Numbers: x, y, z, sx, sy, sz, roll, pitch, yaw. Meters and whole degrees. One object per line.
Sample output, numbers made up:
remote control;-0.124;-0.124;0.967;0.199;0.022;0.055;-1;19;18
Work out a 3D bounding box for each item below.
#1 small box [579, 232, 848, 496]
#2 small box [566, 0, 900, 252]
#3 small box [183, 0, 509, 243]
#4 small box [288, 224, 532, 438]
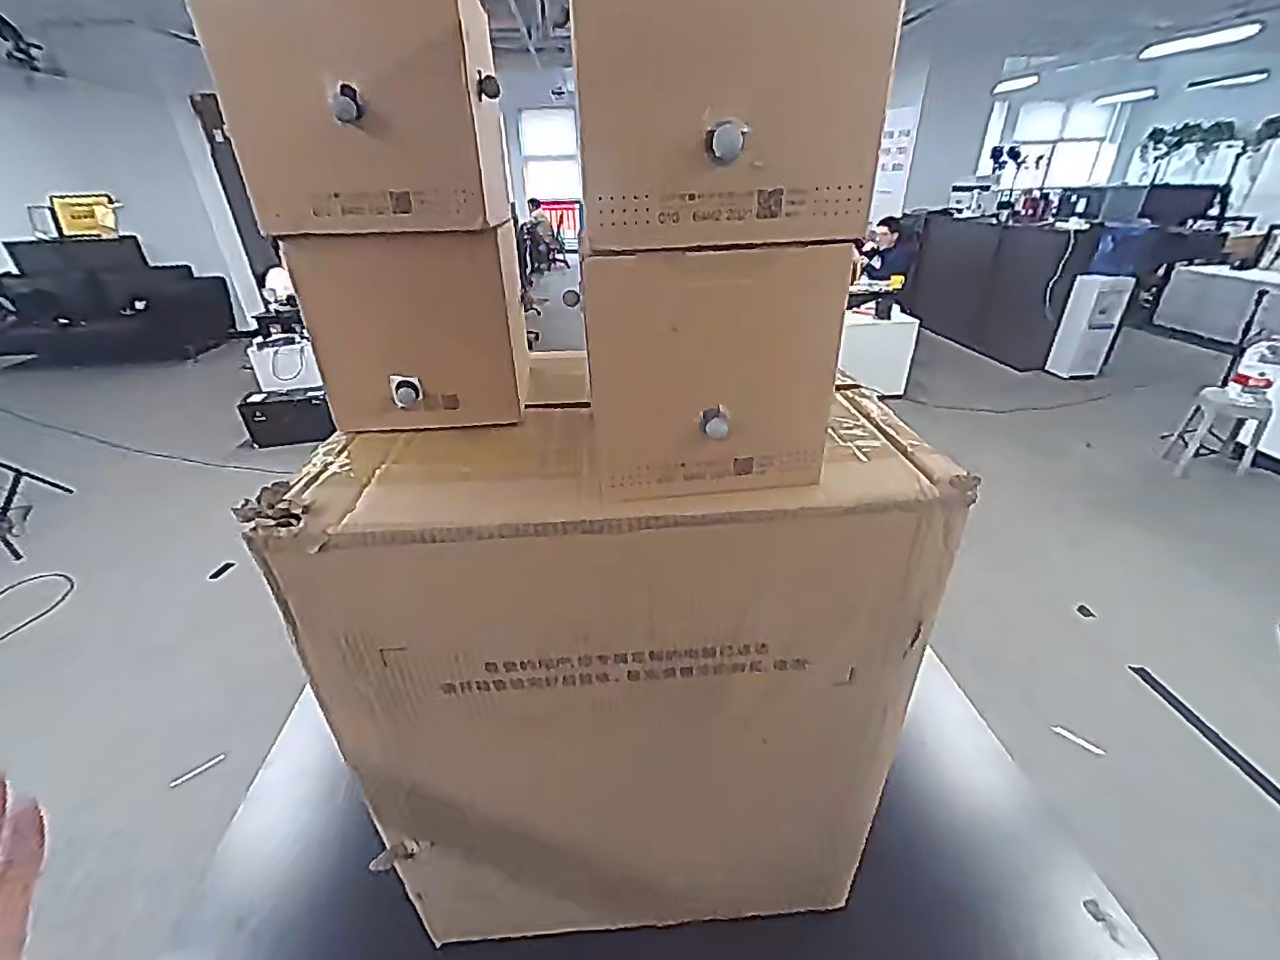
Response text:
small box;0.041;-0.103;0.432;0.168;0.176;0.179;-5;30;-4
small box;0.040;-0.245;0.348;0.168;0.176;0.179;-5;30;-3
small box;-0.206;-0.290;0.440;0.168;0.176;0.179;-5;29;-5
small box;-0.201;-0.154;0.533;0.168;0.176;0.179;-6;30;-6
